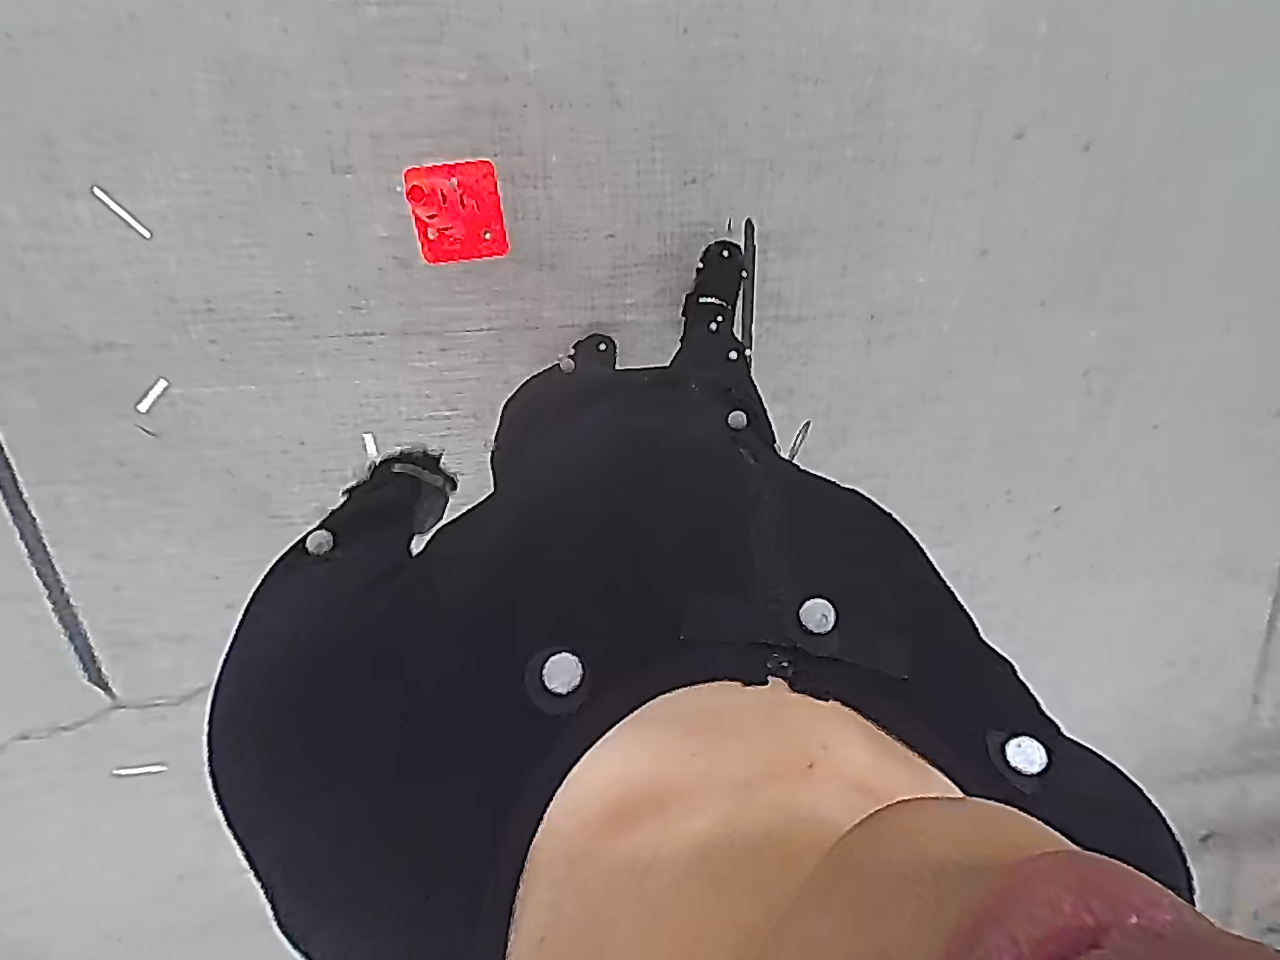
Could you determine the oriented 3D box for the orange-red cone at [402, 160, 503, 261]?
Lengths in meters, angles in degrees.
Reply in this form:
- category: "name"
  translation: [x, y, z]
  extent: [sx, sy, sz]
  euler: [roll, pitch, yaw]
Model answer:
- category: "orange-red cone"
  translation: [-0.394, -0.543, 1.050]
  extent: [0.198, 0.360, 0.199]
  euler: [-8, 110, -5]
